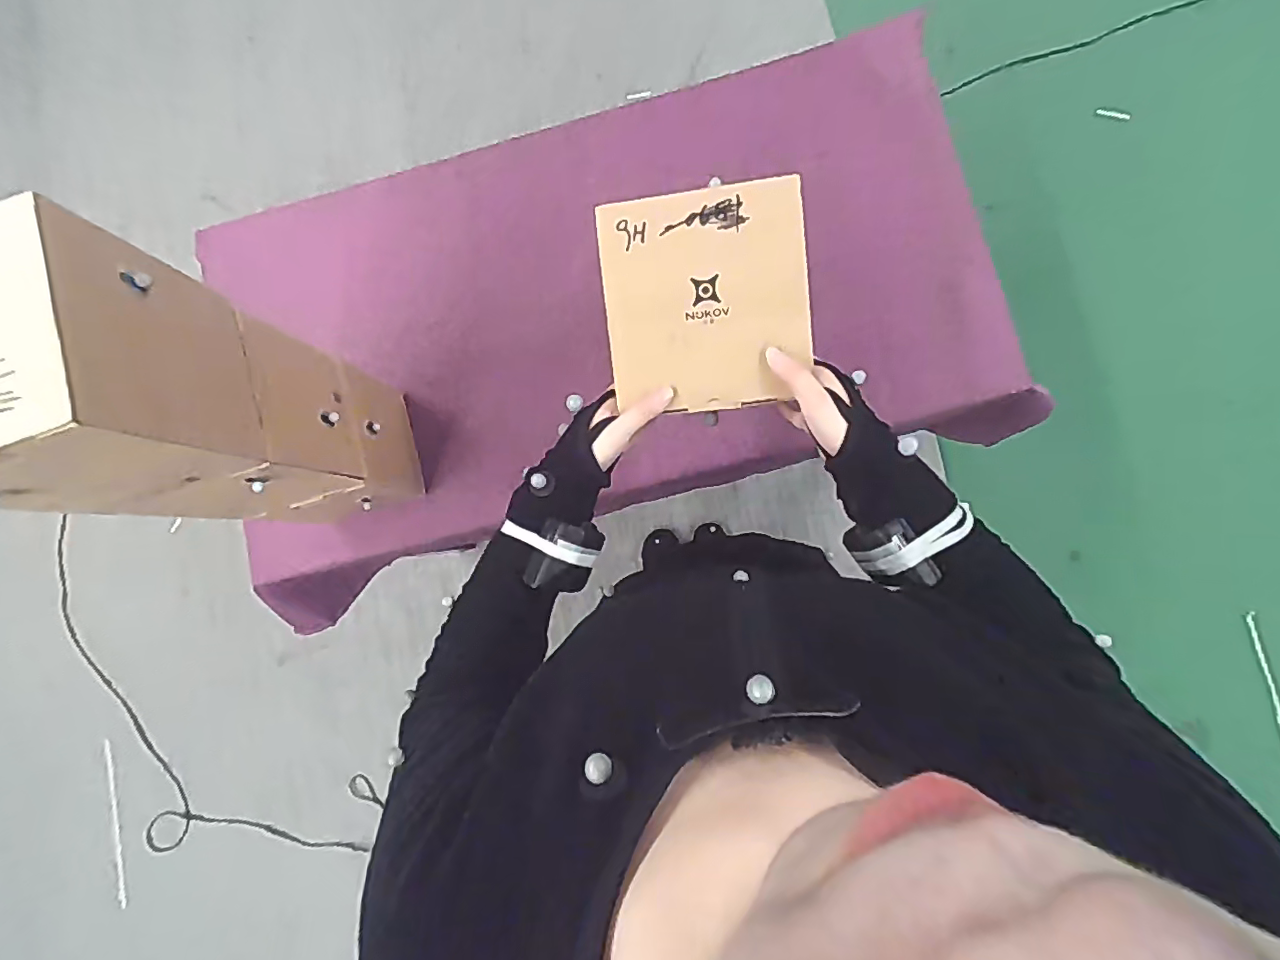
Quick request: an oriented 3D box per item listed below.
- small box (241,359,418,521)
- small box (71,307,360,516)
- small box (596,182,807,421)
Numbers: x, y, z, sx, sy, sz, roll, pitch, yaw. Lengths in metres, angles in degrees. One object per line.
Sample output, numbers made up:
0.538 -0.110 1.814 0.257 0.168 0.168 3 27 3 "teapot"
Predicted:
-0.439 -0.046 0.764 0.168 0.176 0.179 -15 83 2 "small box"
-0.454 -0.061 0.603 0.179 0.176 0.168 -17 84 1 "small box"
0.059 -0.155 0.523 0.168 0.176 0.179 -5 97 6 "small box"
